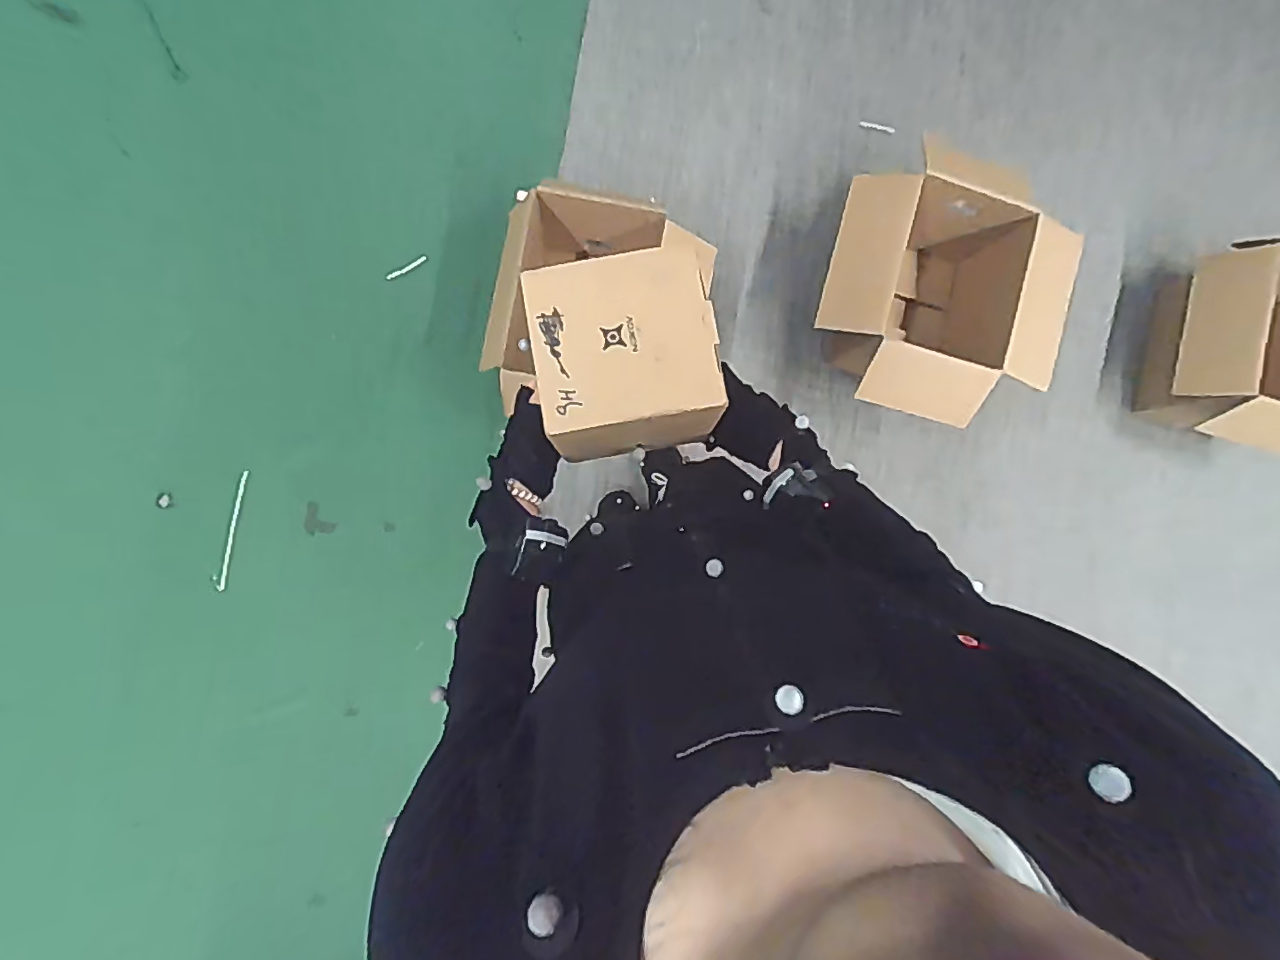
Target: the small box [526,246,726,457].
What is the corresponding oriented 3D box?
[{"bbox_3d":[-0.017,-0.129,0.597,0.179,0.176,0.168,-9,82,-2],"label":"small box"}]
